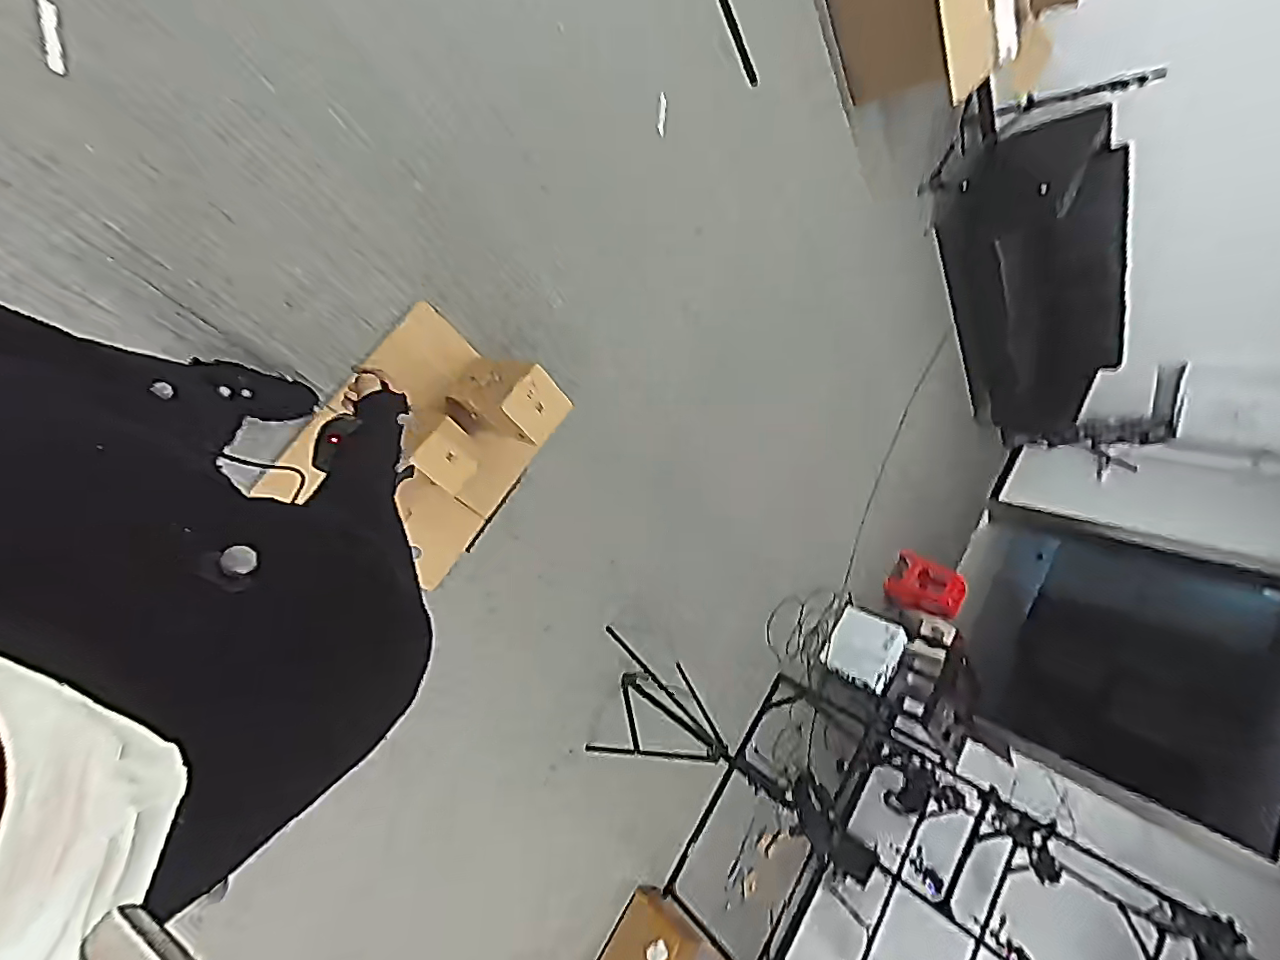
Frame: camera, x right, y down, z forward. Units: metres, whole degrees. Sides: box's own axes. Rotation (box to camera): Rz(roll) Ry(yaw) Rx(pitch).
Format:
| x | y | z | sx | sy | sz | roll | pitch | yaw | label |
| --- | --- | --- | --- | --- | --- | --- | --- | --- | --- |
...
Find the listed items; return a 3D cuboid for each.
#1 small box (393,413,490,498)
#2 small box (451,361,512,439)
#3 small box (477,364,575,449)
| x | y | z | sx | sy | sz | roll | pitch | yaw | label |
| --- | --- | --- | --- | --- | --- | --- | --- | --- | --- |
| -0.583 | -0.077 | 1.589 | 0.168 | 0.176 | 0.179 | -53 | 131 | -17 | small box |
| -0.446 | -0.249 | 1.661 | 0.168 | 0.176 | 0.179 | -55 | 131 | -16 | small box |
| -0.328 | -0.216 | 1.549 | 0.168 | 0.176 | 0.179 | -54 | 131 | -17 | small box |
